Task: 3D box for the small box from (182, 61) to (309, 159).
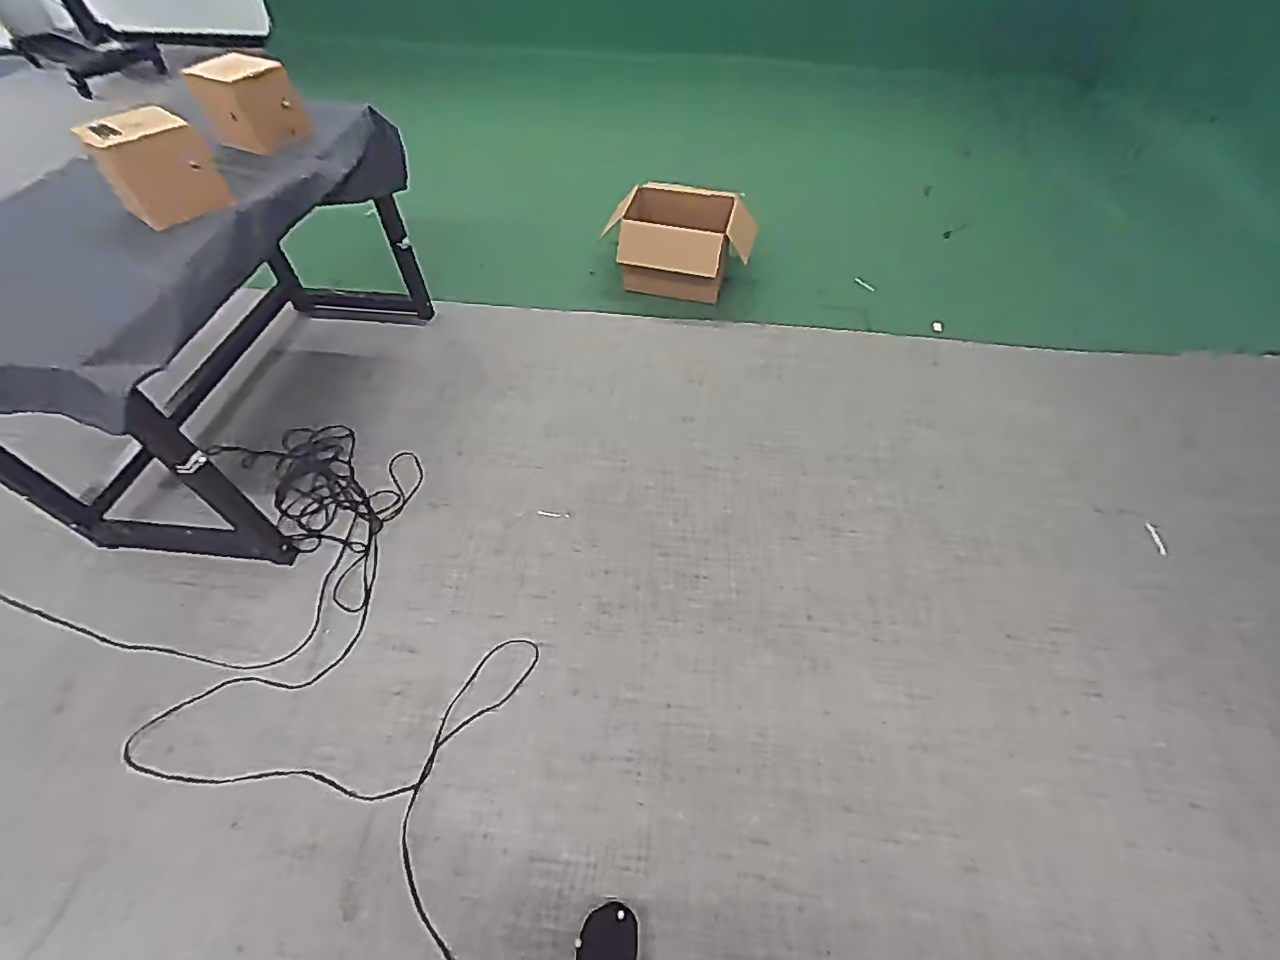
[{"bbox_3d":[-1.028,-0.972,1.427,0.179,0.176,0.168,19,54,16],"label":"small box"}]
